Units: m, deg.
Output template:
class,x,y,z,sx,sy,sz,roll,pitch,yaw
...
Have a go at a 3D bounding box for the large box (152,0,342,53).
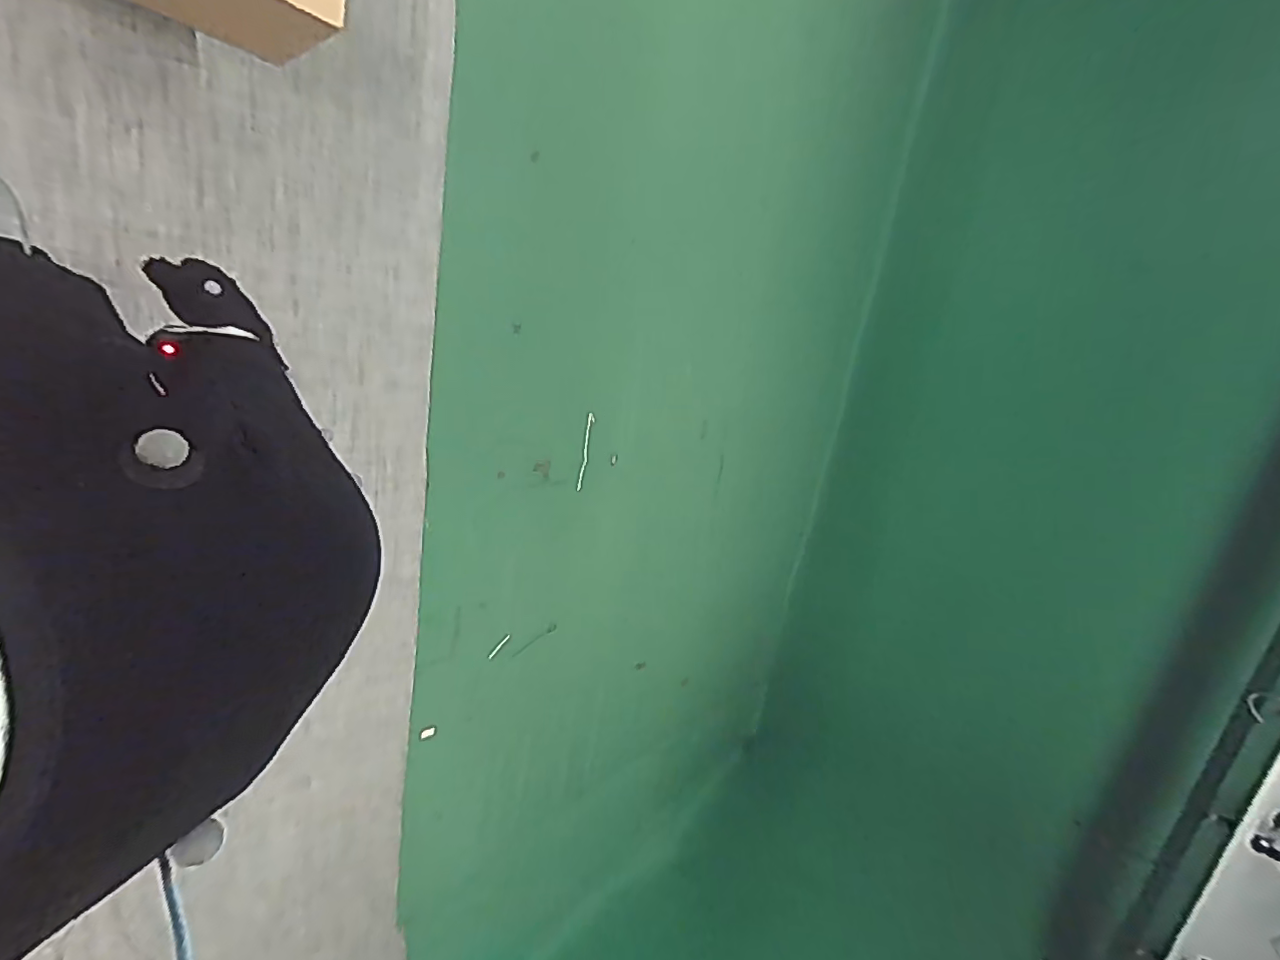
class,x,y,z,sx,sy,sz,roll,pitch,yaw
large box,-0.674,-0.879,0.742,0.408,0.320,0.320,-6,111,-48
